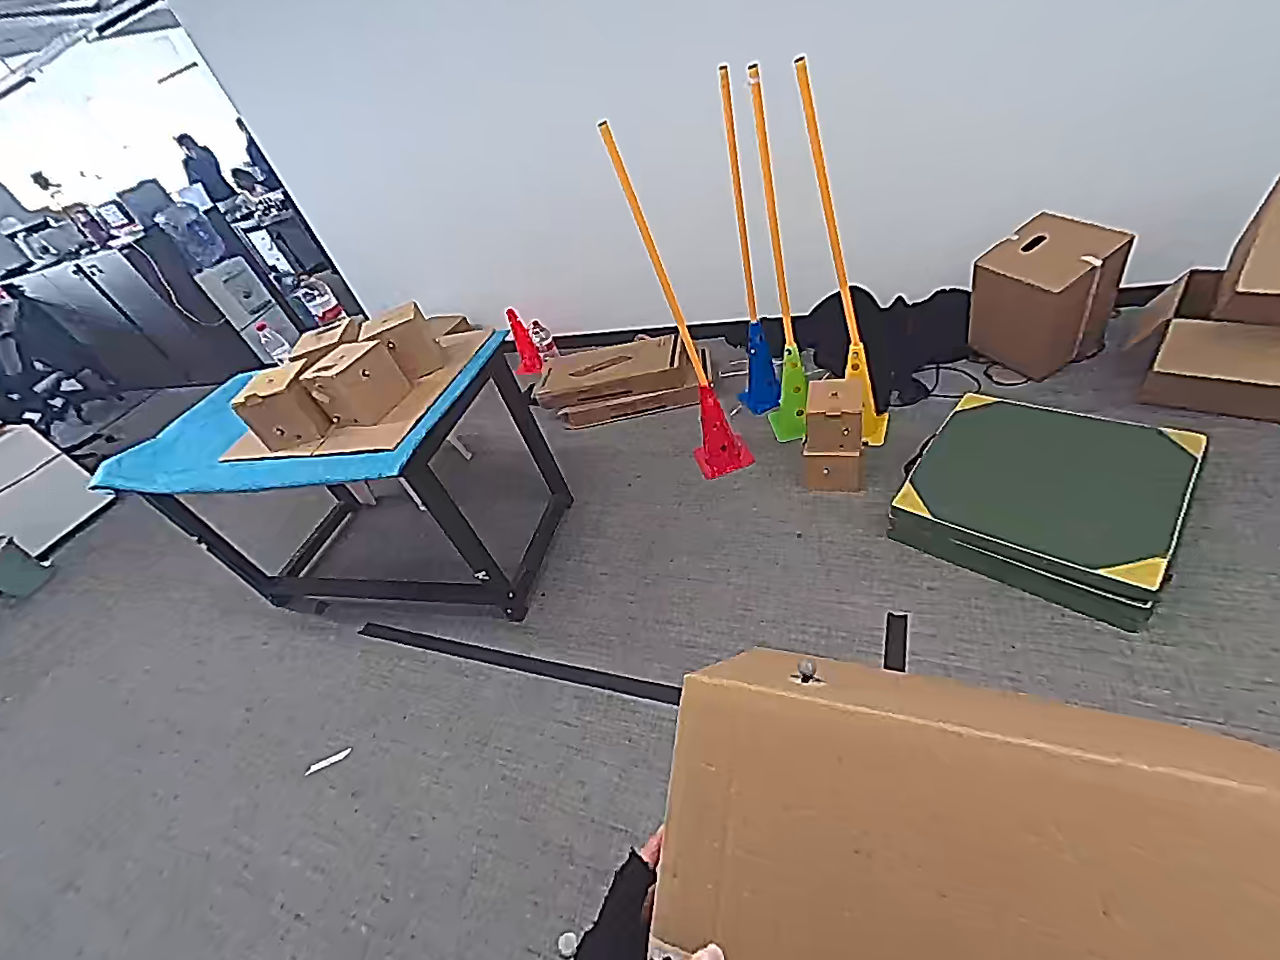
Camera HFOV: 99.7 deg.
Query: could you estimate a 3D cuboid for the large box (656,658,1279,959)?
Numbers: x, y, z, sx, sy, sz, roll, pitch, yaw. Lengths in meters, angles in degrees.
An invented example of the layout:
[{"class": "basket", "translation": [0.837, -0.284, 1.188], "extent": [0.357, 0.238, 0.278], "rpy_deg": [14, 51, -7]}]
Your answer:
[{"class": "large box", "translation": [0.243, 0.323, 0.390], "extent": [0.408, 0.320, 0.320], "rpy_deg": [4, 79, 21]}]
